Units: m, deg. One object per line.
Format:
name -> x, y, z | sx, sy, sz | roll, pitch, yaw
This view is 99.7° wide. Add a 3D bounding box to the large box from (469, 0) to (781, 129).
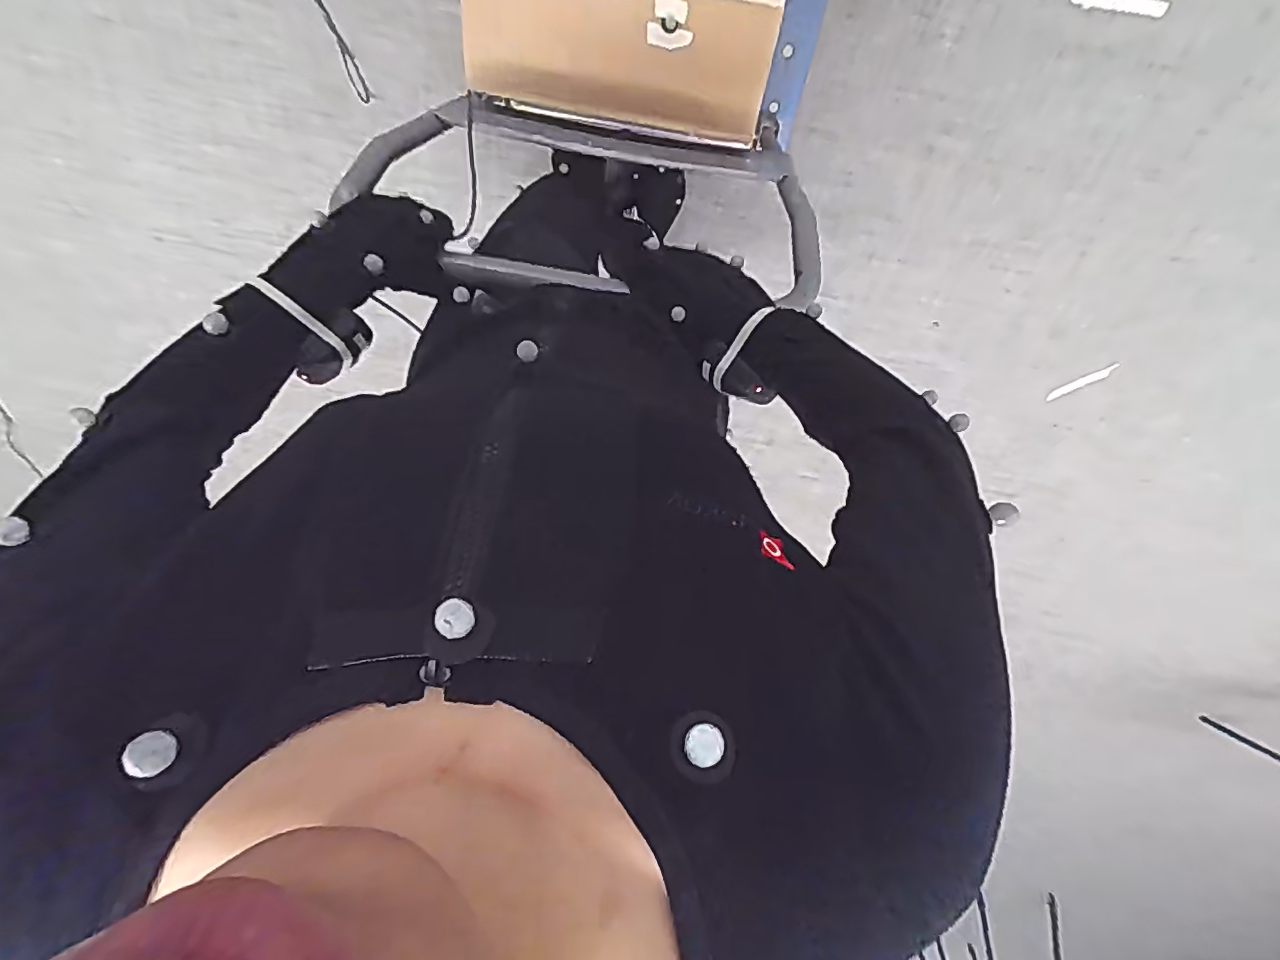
large box -> -0.010, -0.734, 0.780 | 0.408, 0.320, 0.320 | 8, 130, -3
